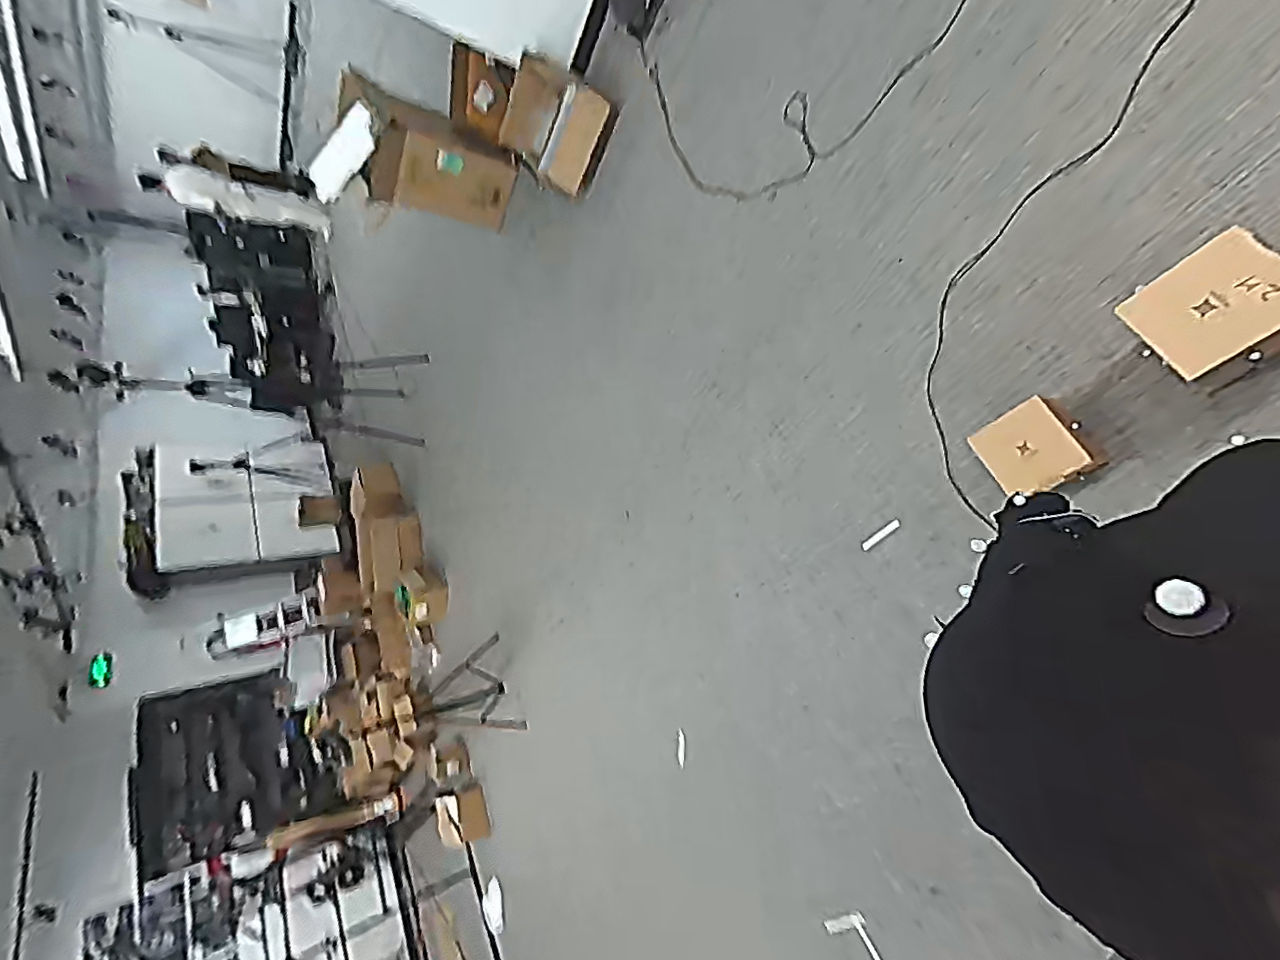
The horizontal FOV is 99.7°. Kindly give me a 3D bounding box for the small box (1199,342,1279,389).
[{"bbox_3d":[1.069,-0.282,0.995,0.179,0.176,0.168,-49,57,40],"label":"small box"}]

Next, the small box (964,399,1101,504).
[{"bbox_3d":[0.890,-0.065,1.223,0.168,0.176,0.179,-45,59,41],"label":"small box"}]

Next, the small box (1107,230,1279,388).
[{"bbox_3d":[0.938,-0.268,0.893,0.179,0.176,0.168,-47,58,40],"label":"small box"}]
